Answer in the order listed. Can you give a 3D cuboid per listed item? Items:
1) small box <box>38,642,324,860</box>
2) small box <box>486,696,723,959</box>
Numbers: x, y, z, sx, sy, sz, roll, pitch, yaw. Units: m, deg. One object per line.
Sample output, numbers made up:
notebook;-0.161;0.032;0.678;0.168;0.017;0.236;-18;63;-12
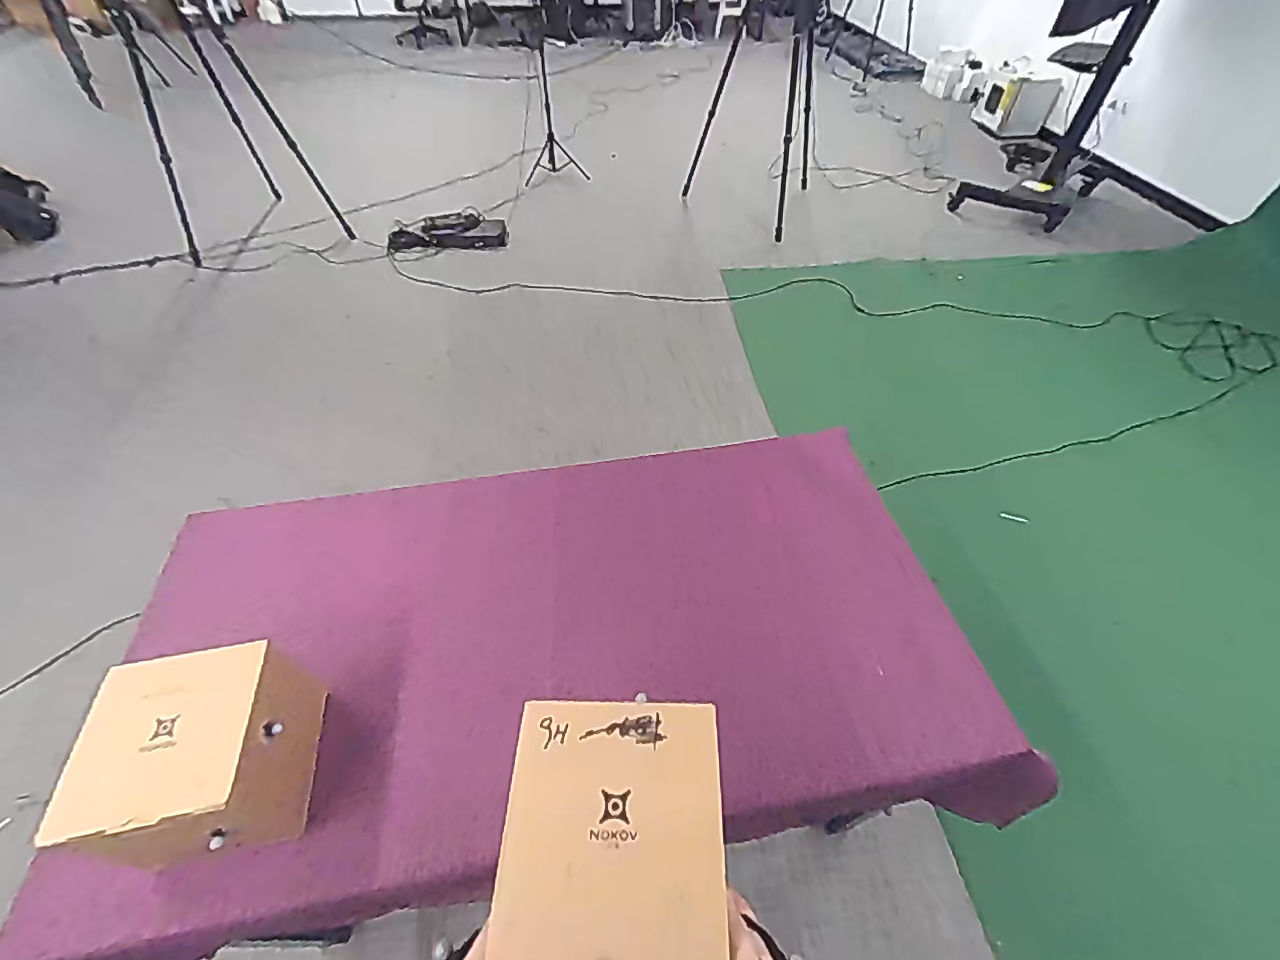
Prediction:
small box;-0.490;0.313;0.619;0.168;0.176;0.179;-8;49;-9
small box;-0.018;0.307;0.475;0.168;0.176;0.179;1;51;2
